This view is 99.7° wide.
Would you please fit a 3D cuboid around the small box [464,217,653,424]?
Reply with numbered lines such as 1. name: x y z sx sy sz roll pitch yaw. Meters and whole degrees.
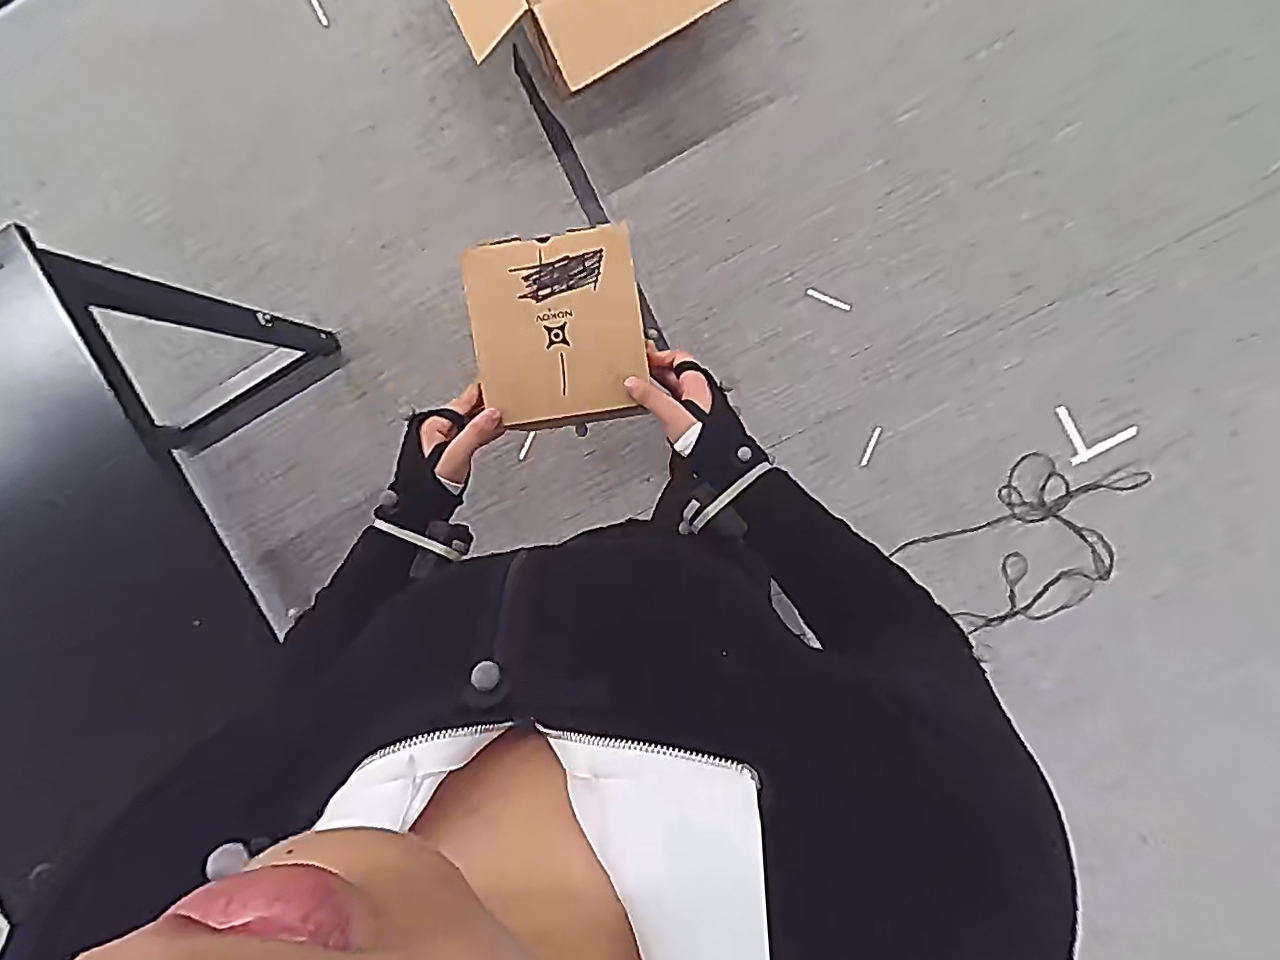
1. small box: -0.079 -0.162 0.603 0.168 0.176 0.179 -8 94 2
